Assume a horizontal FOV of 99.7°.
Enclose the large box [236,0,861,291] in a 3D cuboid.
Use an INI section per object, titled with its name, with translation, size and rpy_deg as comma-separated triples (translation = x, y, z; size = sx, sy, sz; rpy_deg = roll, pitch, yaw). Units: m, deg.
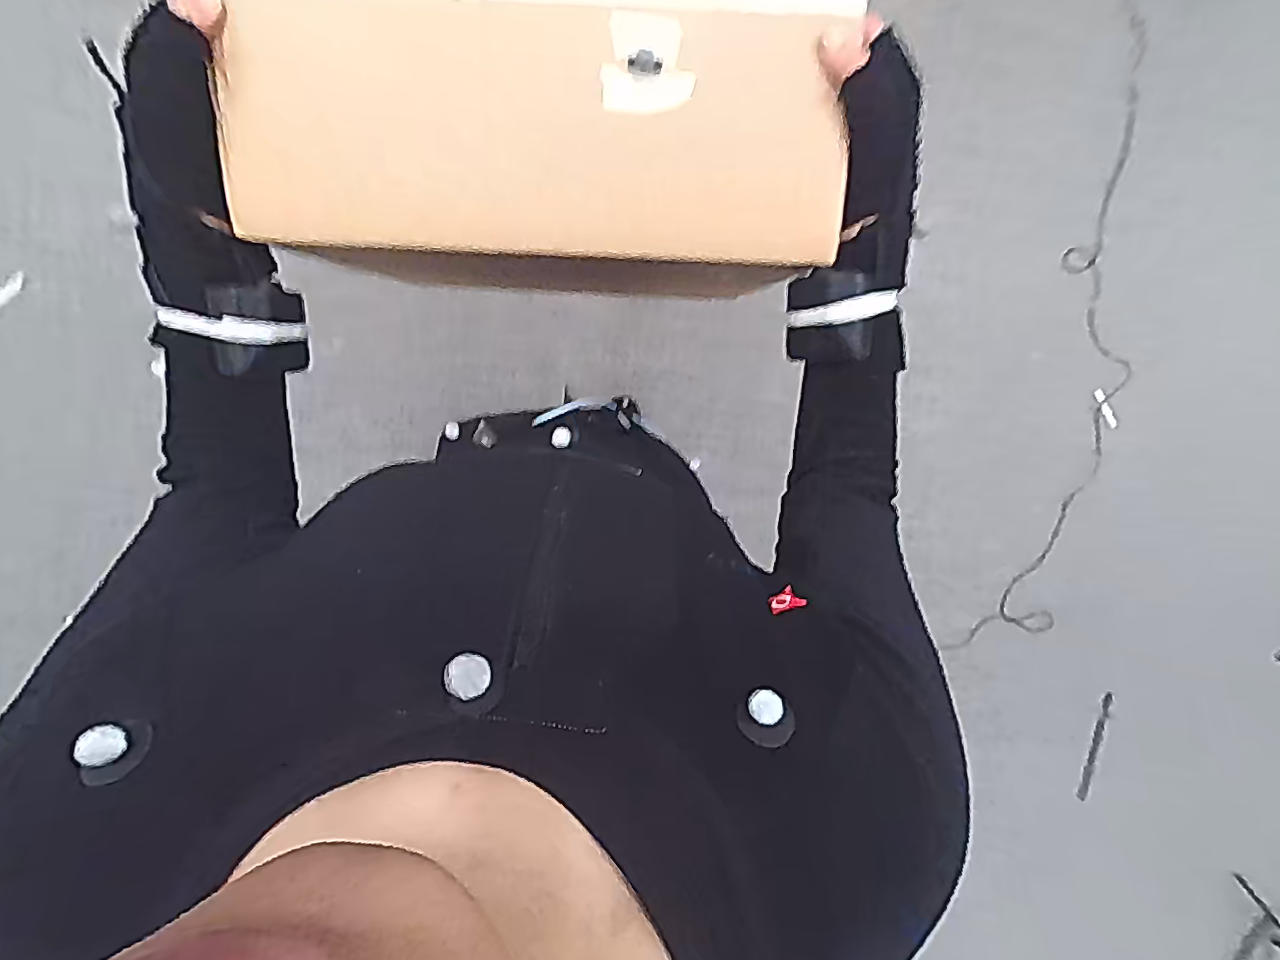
[large box]
translation = -0.062, -0.350, 0.488
size = 0.408, 0.320, 0.320
rpy_deg = 1, 105, -4
